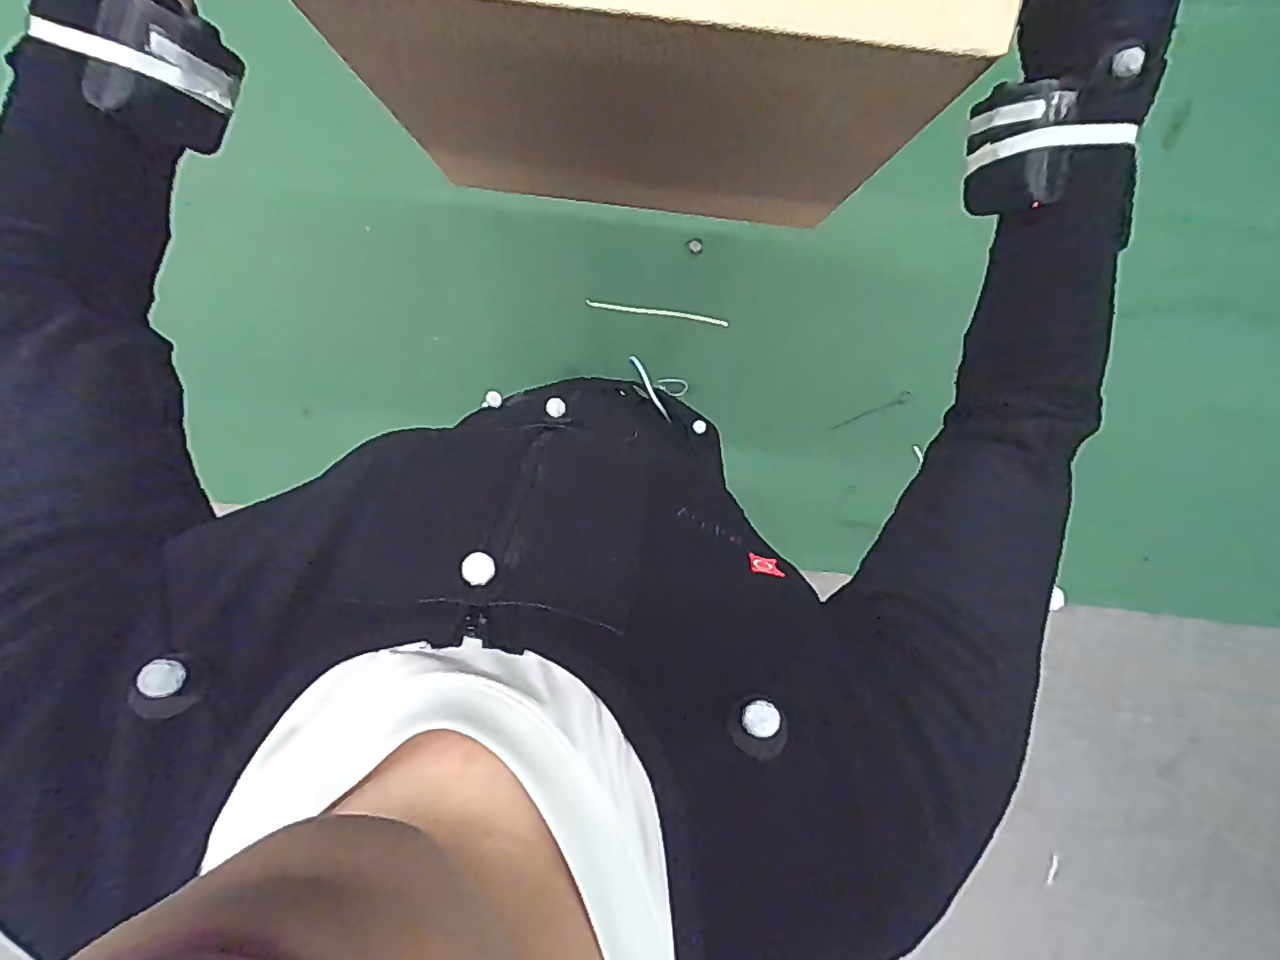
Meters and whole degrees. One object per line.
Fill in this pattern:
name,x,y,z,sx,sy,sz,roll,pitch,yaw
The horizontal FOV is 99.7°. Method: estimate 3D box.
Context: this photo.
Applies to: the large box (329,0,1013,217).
large box,0.018,-0.432,0.424,0.408,0.320,0.320,5,100,-3
